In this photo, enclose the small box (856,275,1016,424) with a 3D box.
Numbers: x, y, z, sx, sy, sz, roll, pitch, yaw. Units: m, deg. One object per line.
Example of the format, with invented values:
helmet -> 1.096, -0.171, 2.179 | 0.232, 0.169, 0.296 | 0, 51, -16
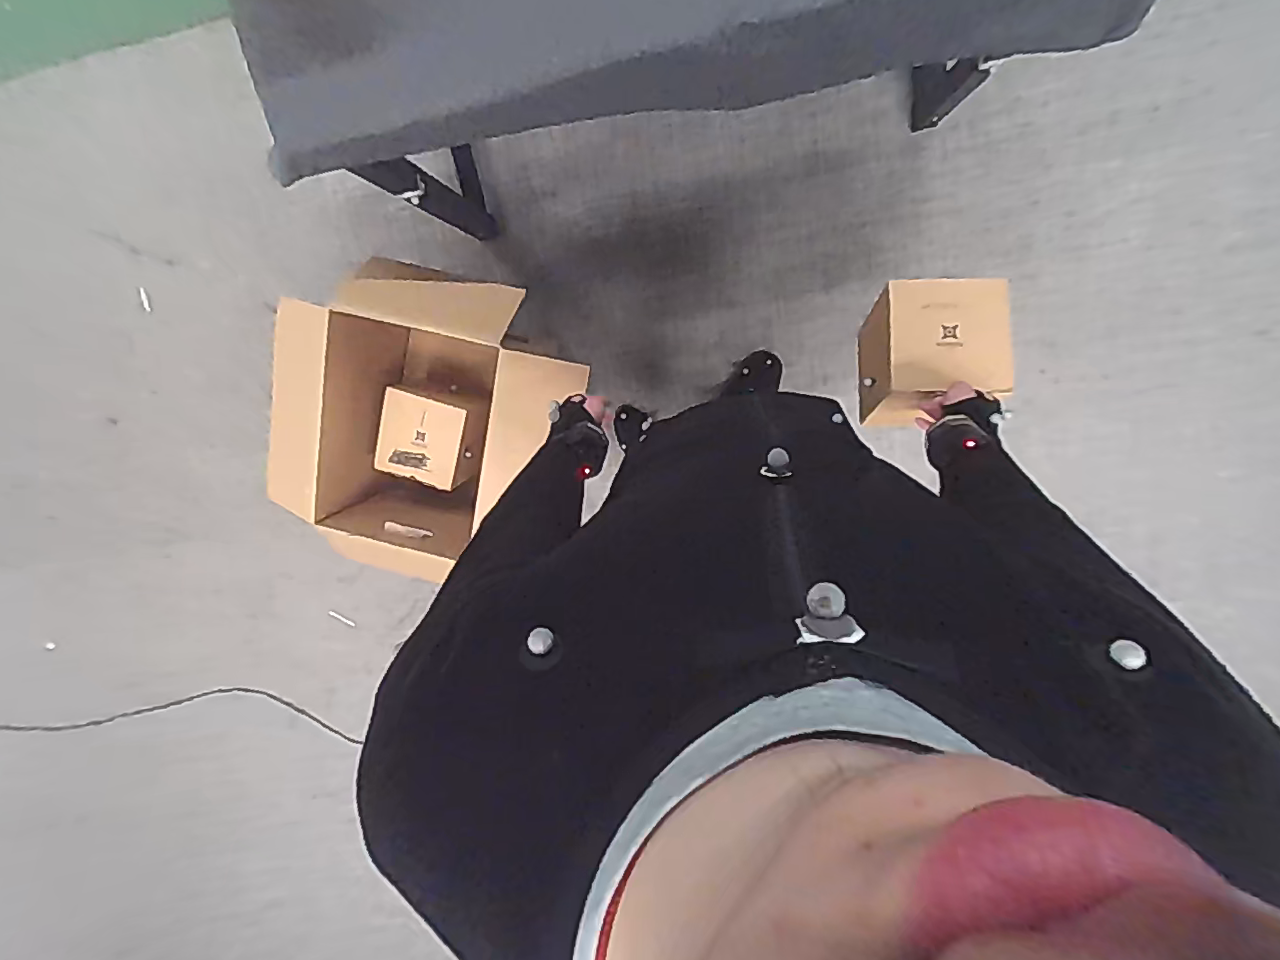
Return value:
small box -> 0.443, -0.192, 0.836 | 0.168, 0.176, 0.179 | 2, 78, 6
